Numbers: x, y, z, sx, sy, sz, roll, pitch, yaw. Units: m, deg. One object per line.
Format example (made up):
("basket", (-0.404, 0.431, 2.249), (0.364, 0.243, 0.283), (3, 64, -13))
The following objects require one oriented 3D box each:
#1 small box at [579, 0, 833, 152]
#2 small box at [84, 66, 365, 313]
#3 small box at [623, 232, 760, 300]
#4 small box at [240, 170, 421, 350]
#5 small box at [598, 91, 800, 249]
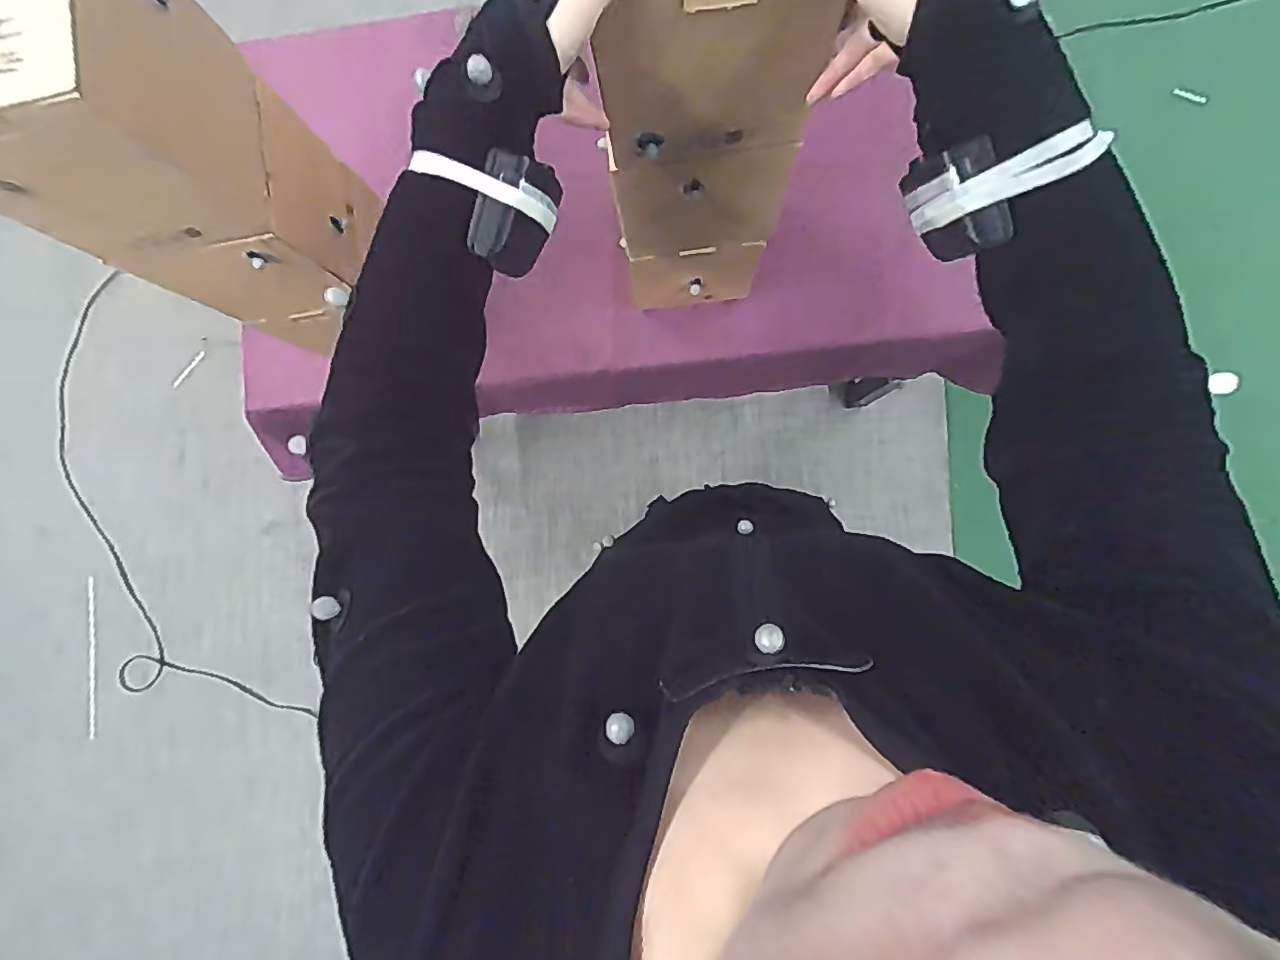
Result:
("small box", (0.043, -0.373, 0.397), (0.168, 0.176, 0.179), (-6, 85, 3))
("small box", (-0.437, -0.298, 0.594), (0.179, 0.176, 0.168), (-9, 87, 2))
("small box", (0.062, -0.354, 0.726), (0.168, 0.176, 0.179), (-5, 88, 3))
("small box", (-0.423, -0.290, 0.755), (0.168, 0.176, 0.179), (-7, 86, 2))
("small box", (0.054, -0.360, 0.561), (0.179, 0.176, 0.168), (-6, 87, 4))
